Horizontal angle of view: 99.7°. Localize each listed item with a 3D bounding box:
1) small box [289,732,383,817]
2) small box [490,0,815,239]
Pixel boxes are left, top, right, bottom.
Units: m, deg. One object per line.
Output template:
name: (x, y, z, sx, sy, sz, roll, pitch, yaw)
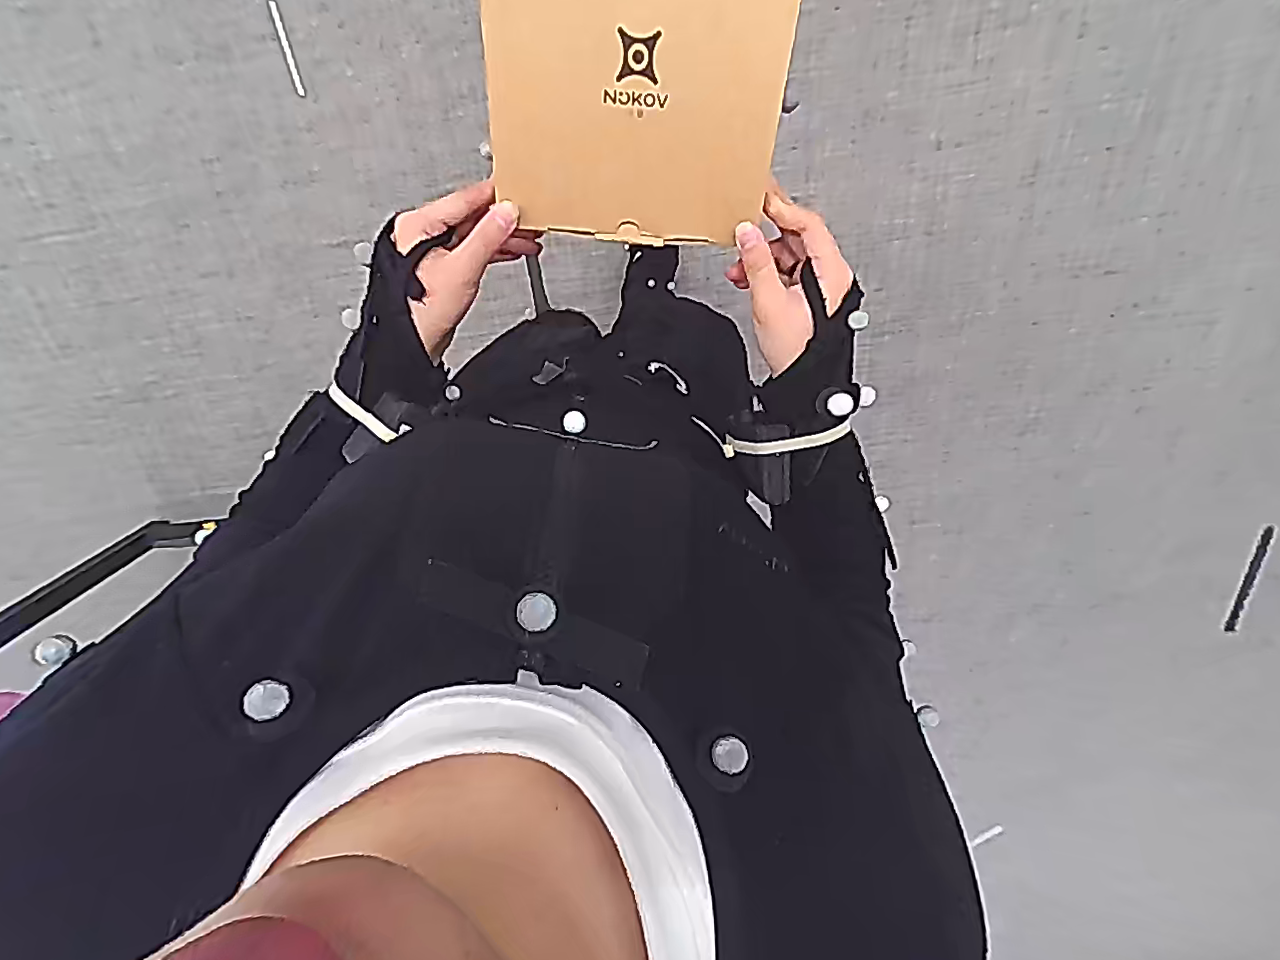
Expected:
small box: (-0.956, 0.931, 1.716, 0.179, 0.176, 0.168, -7, 115, 2)
small box: (0.004, -0.271, 0.346, 0.168, 0.176, 0.179, 3, 127, -2)
